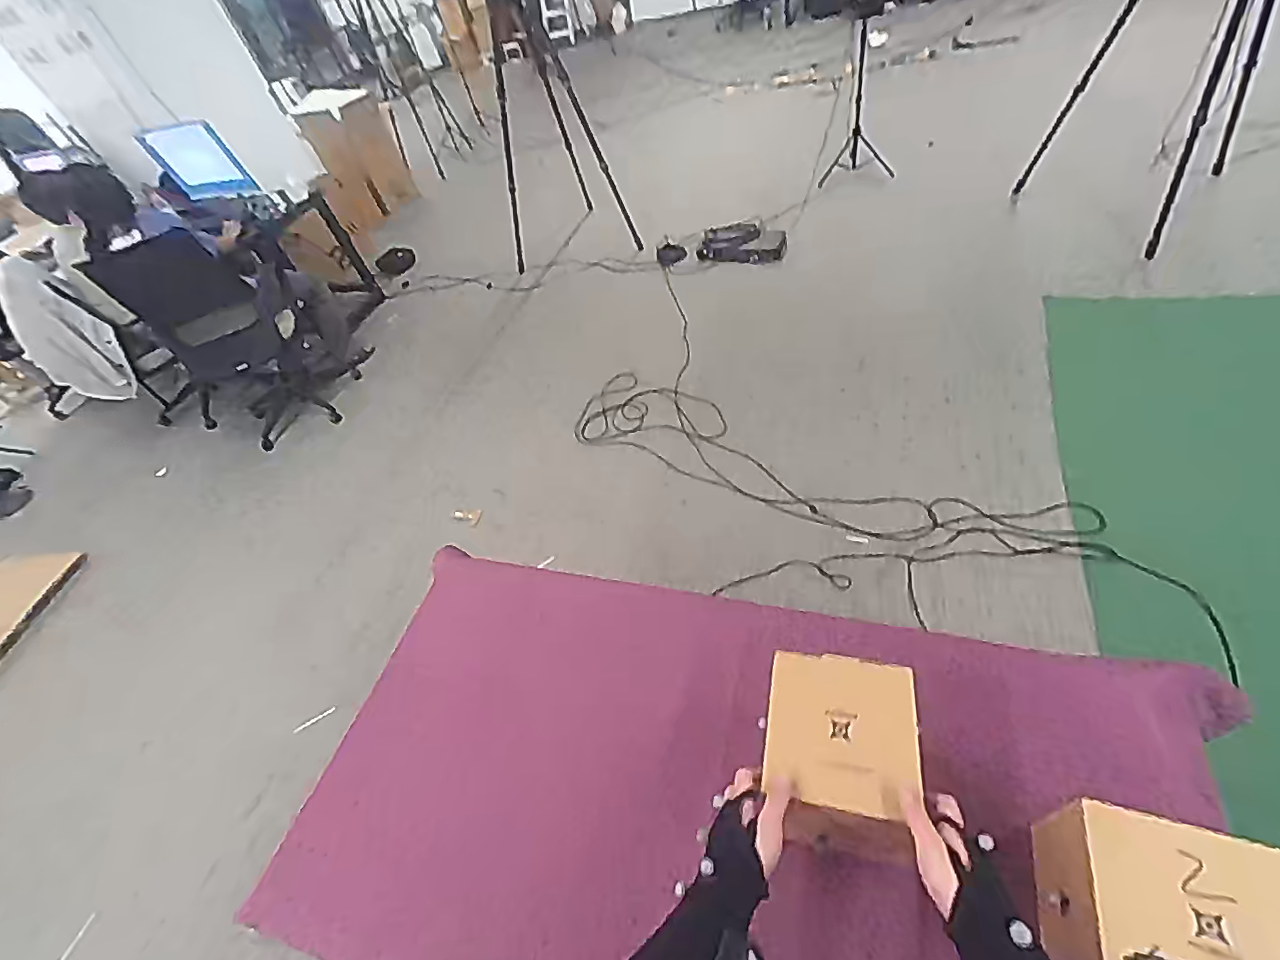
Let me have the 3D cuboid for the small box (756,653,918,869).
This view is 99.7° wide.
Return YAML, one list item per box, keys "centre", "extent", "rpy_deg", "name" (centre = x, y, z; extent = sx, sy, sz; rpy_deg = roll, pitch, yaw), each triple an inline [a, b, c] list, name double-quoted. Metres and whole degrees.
- centre: [0.241, 0.348, 0.678]
  extent: [0.168, 0.176, 0.179]
  rpy_deg: [2, 44, 19]
  name: "small box"
